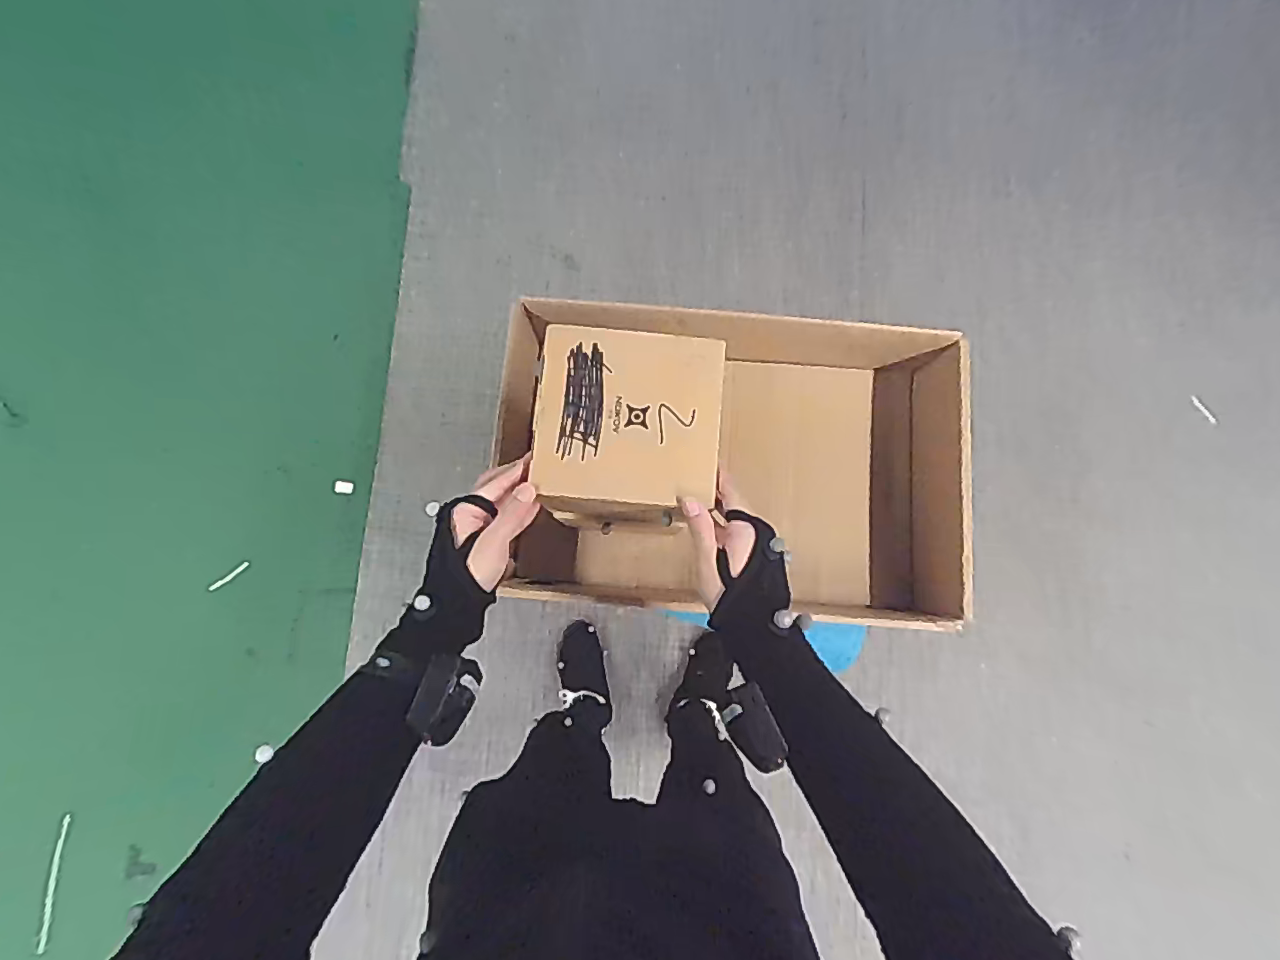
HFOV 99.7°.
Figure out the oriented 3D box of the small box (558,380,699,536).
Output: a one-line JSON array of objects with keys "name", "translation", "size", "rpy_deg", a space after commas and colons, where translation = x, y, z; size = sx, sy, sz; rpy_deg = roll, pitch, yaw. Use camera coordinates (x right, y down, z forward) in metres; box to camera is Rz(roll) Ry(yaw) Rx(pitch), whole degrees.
[{"name": "small box", "translation": [-0.014, -0.021, 0.744], "size": [0.168, 0.176, 0.179], "rpy_deg": [4, 80, 0]}]
